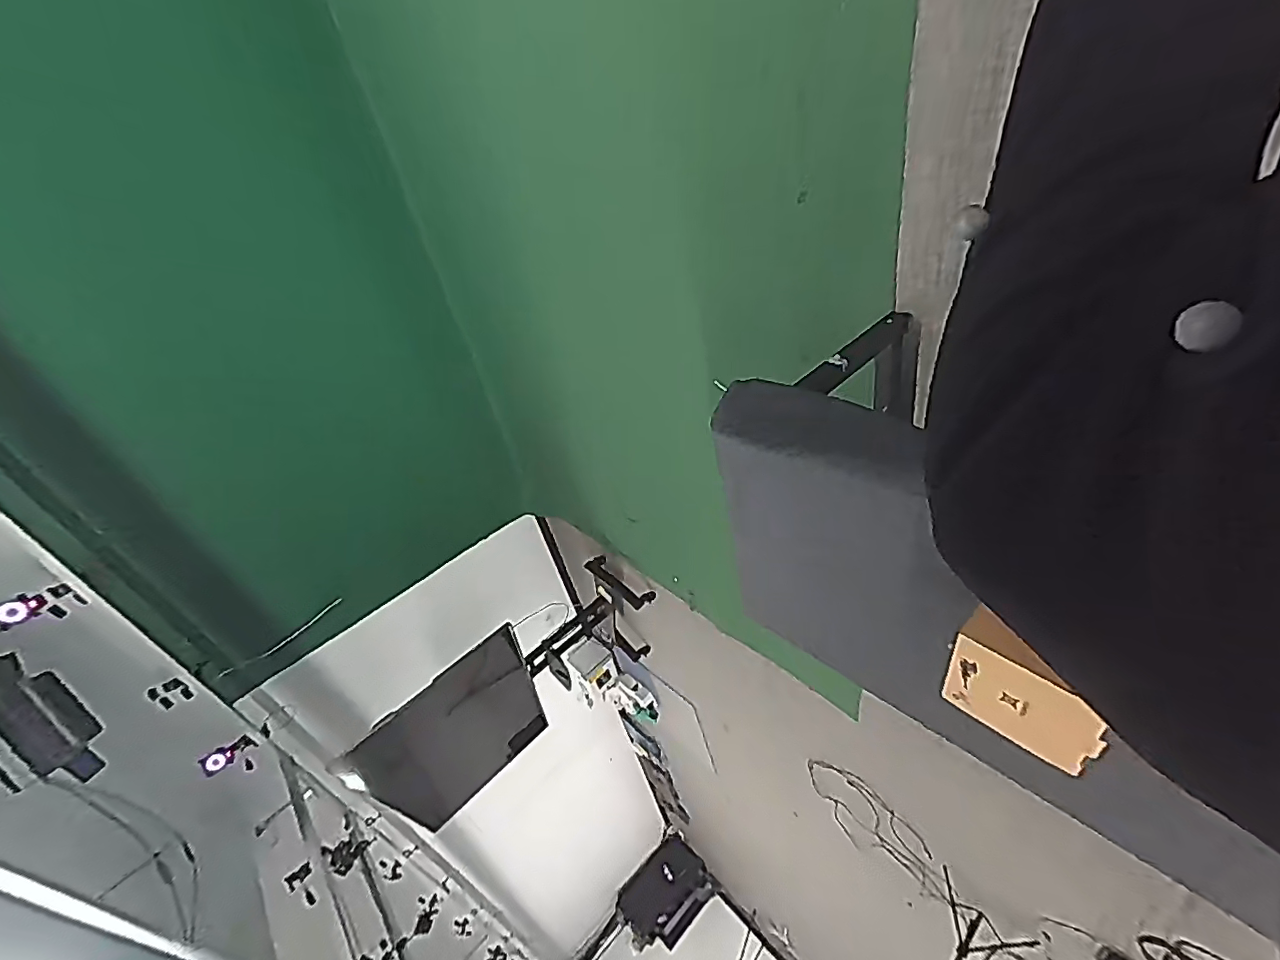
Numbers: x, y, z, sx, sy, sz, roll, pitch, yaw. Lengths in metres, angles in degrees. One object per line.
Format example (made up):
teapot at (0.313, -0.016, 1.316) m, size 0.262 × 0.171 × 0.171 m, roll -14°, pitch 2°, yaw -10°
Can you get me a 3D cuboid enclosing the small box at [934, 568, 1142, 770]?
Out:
small box at (0.555, 0.255, 0.764) m, size 0.179 × 0.176 × 0.168 m, roll 29°, pitch 144°, yaw 41°
